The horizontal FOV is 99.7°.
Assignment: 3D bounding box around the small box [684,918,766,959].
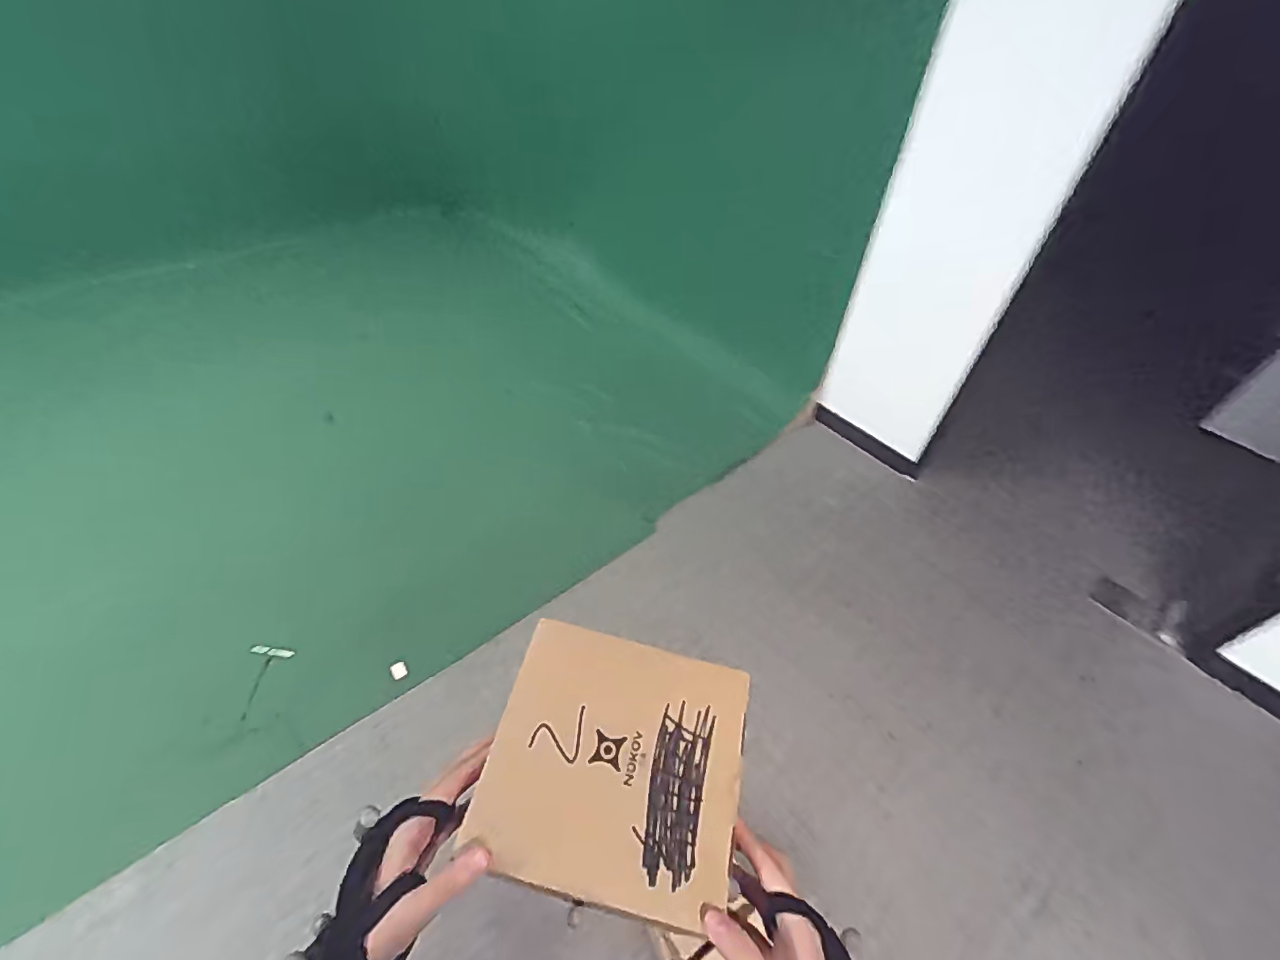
[{"bbox_3d":[0.164,0.987,1.038,0.179,0.176,0.168,-32,58,-25],"label":"small box"}]
